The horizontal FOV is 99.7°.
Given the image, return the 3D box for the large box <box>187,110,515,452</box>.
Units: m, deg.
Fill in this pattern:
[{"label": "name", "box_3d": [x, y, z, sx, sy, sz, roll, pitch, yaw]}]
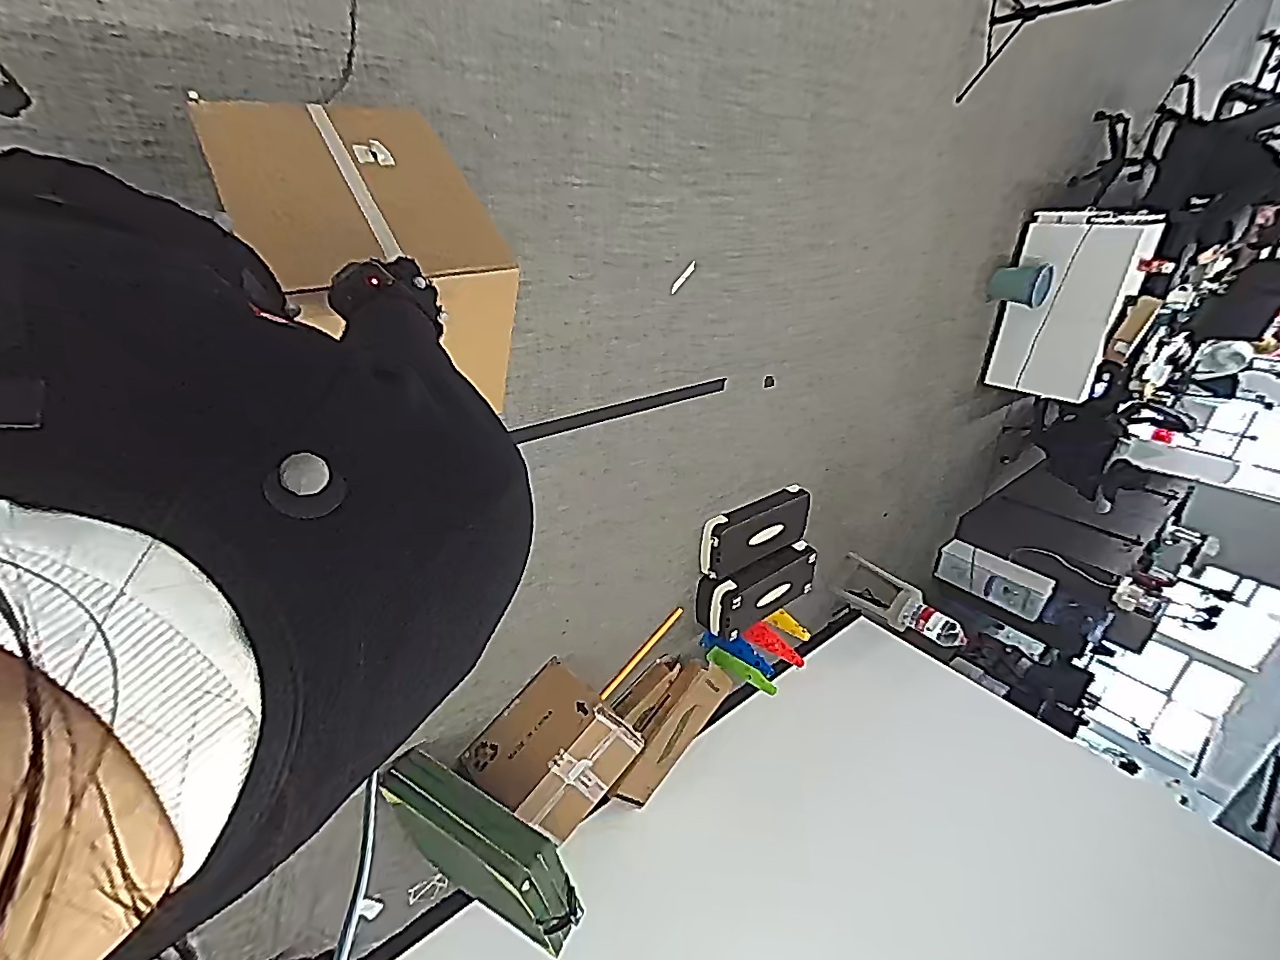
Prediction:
[{"label": "large box", "box_3d": [-0.438, -0.320, 0.869, 0.320, 0.408, 0.320, -21, 155, -31]}]
